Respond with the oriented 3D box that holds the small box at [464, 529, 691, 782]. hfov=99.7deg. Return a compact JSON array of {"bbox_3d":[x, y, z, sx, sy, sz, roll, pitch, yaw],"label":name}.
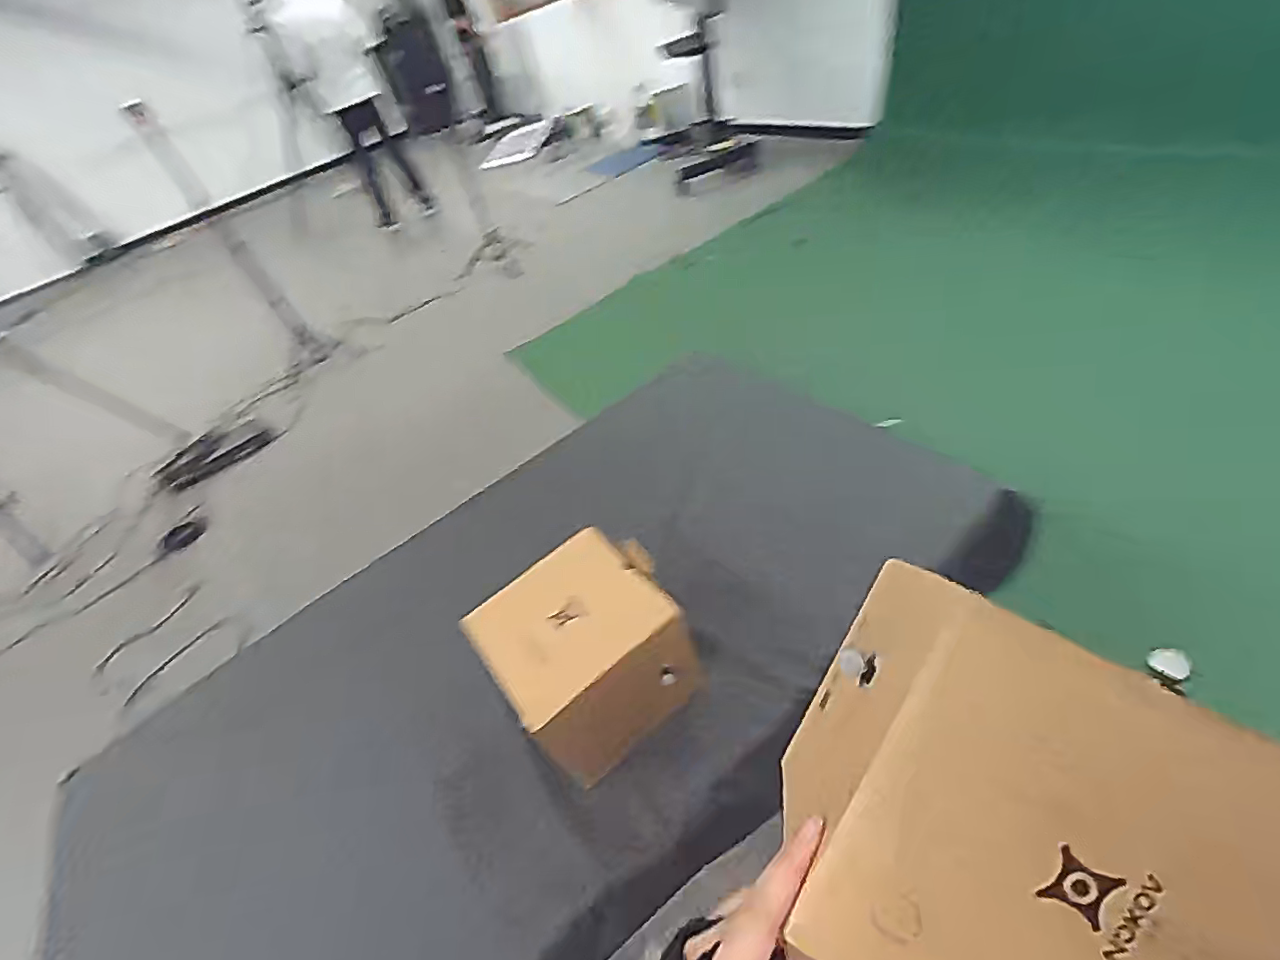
[{"bbox_3d":[-0.059,0.196,0.613,0.179,0.176,0.168,-38,45,-18],"label":"small box"}]
